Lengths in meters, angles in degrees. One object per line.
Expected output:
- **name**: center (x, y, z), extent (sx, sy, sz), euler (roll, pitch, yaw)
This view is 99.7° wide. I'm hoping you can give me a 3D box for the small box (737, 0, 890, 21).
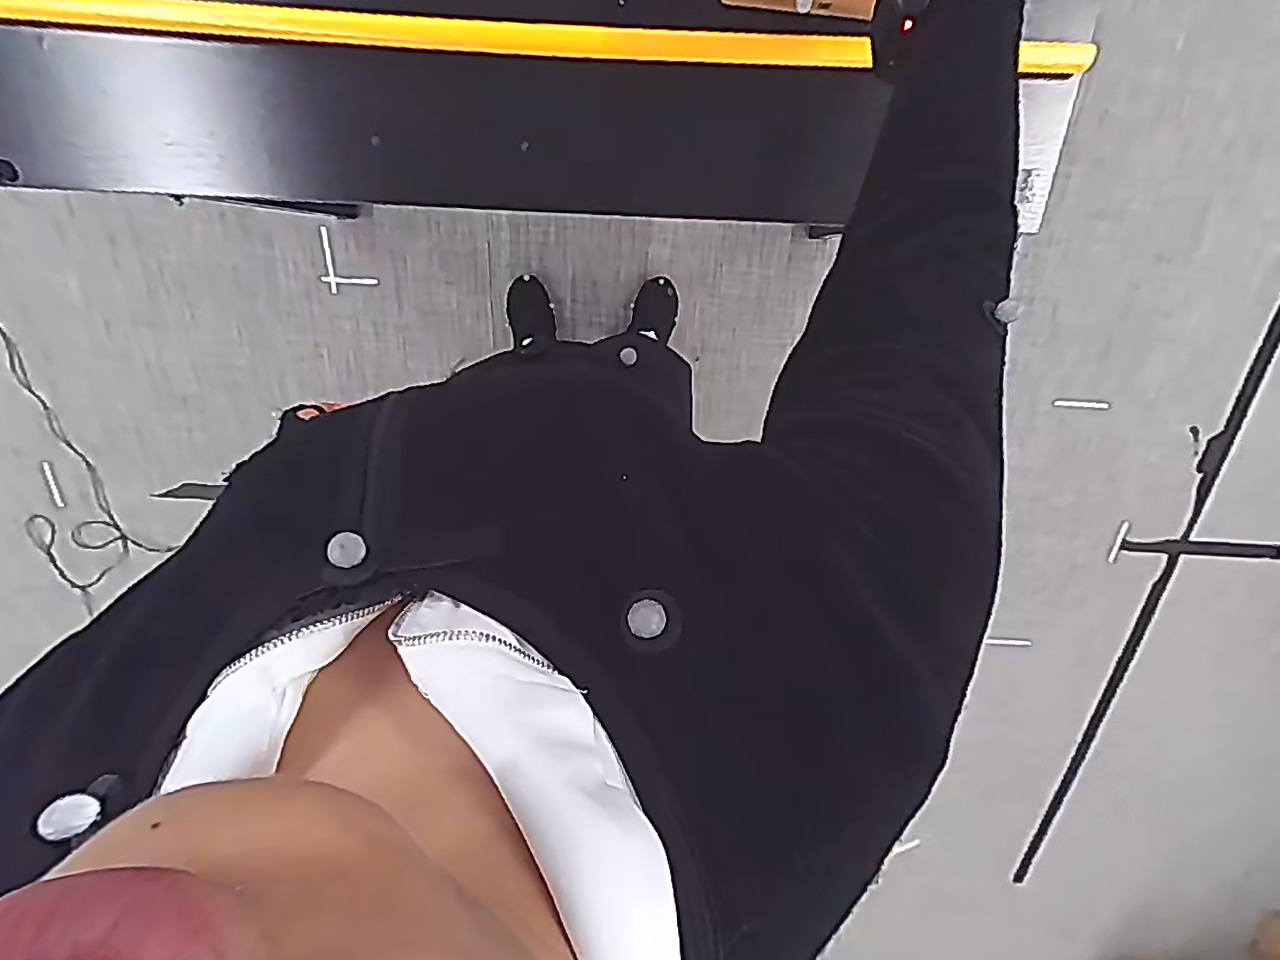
- **small box**: center (0.176, -0.541, 0.460), extent (0.168, 0.176, 0.179), euler (5, 112, -2)
